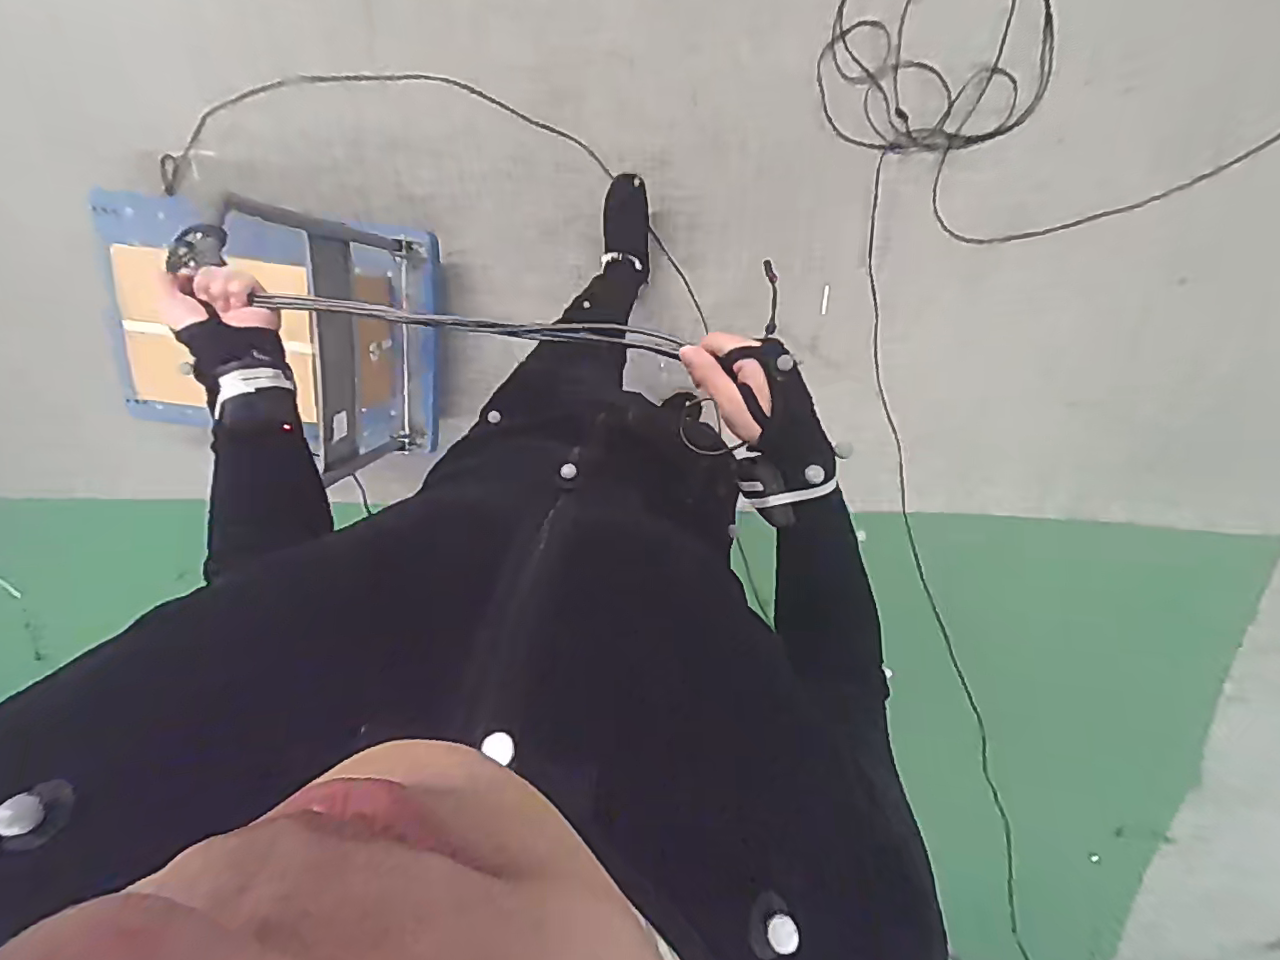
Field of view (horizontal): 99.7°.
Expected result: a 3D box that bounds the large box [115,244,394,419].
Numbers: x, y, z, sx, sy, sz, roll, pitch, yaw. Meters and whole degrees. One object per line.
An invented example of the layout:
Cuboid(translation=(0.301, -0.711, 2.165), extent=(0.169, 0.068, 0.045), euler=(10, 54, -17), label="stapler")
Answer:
Cuboid(translation=(-0.836, -0.341, 1.236), extent=(0.408, 0.320, 0.320), euler=(8, 108, 3), label="large box")
